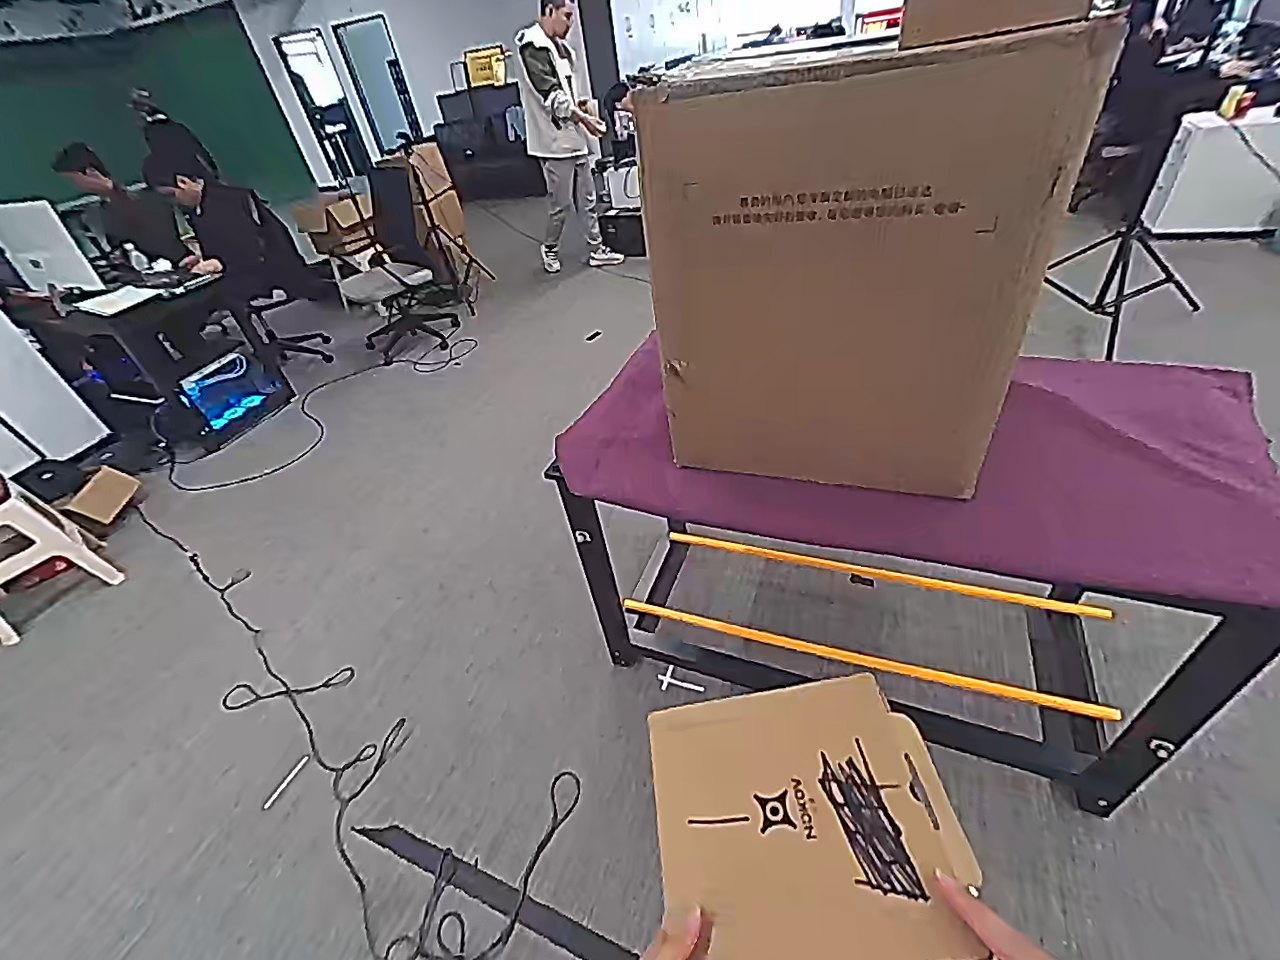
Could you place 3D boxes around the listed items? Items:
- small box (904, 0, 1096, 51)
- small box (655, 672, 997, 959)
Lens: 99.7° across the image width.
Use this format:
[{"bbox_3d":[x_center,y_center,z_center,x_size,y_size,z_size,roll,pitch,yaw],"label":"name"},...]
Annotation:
[{"bbox_3d":[0.383,-0.572,0.565,0.179,0.176,0.168,8,43,23],"label":"small box"},{"bbox_3d":[0.116,0.271,0.402,0.179,0.176,0.168,-12,40,5],"label":"small box"}]
